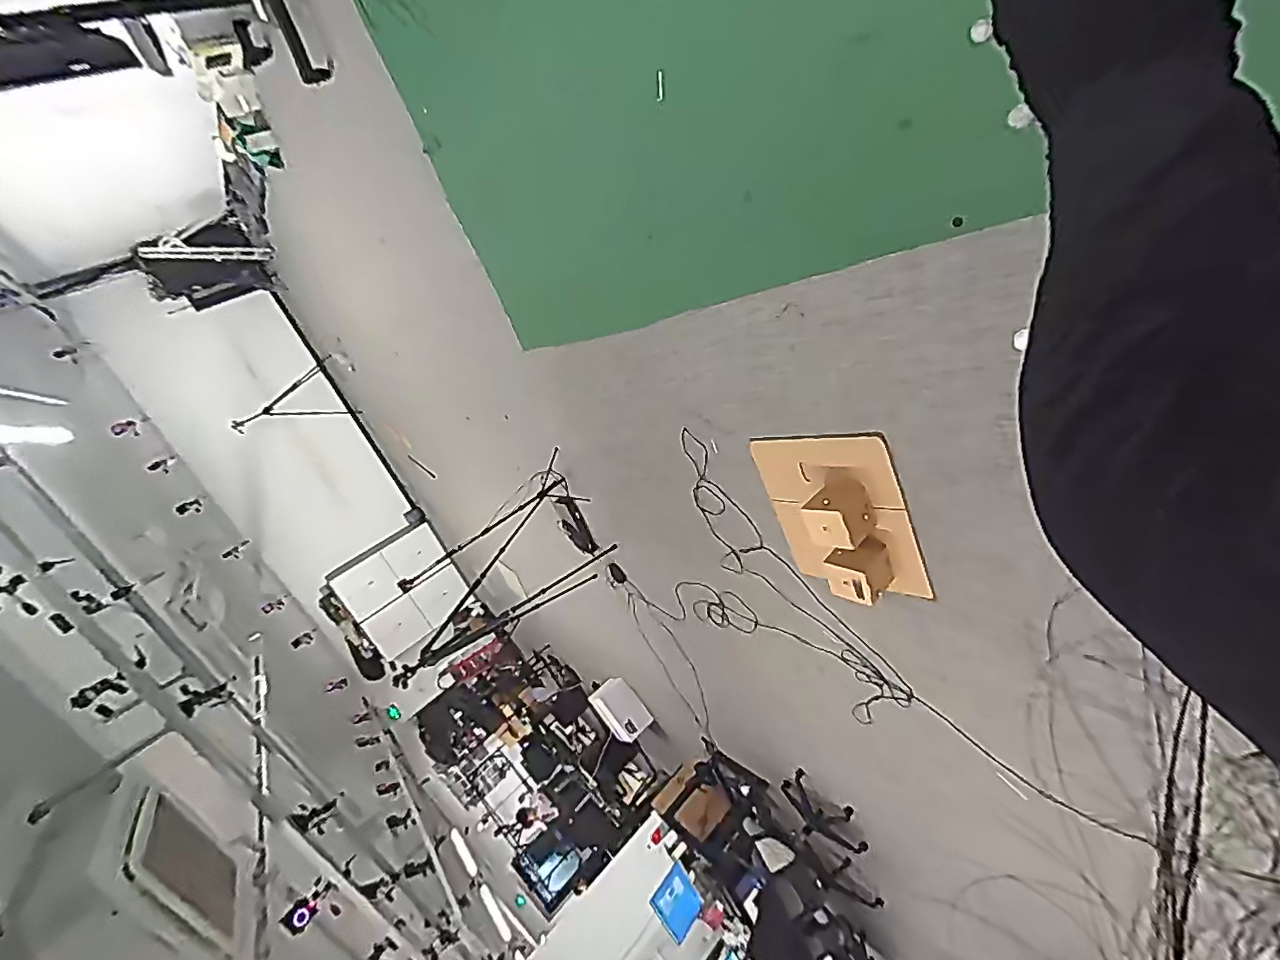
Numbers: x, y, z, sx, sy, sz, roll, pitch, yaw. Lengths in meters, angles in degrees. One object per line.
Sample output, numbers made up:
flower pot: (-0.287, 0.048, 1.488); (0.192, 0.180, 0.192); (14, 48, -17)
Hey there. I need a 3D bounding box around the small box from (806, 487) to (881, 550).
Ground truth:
small box: (0.753, 0.135, 1.994); (0.179, 0.176, 0.168); (0, 121, 56)
